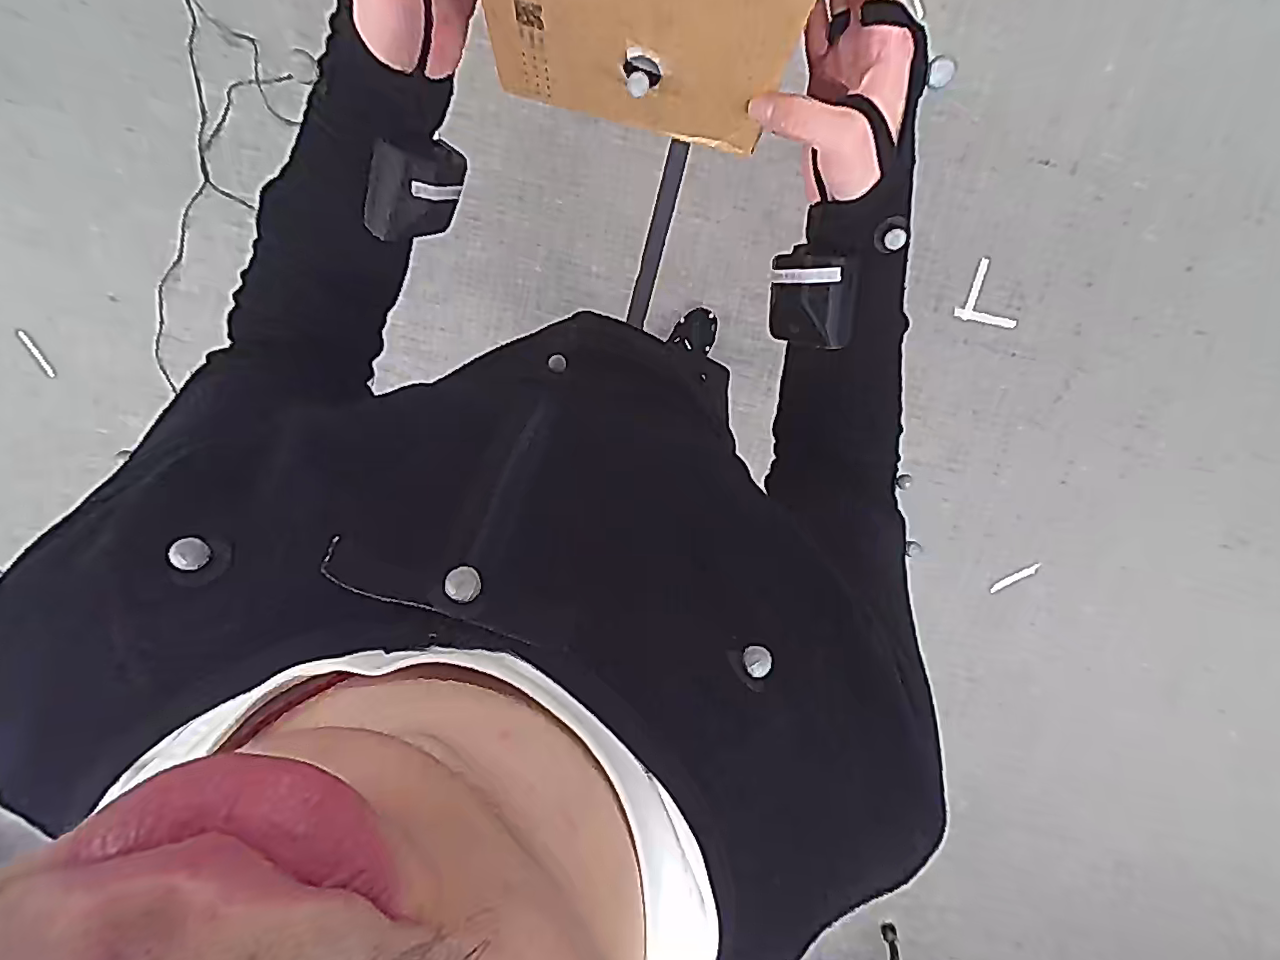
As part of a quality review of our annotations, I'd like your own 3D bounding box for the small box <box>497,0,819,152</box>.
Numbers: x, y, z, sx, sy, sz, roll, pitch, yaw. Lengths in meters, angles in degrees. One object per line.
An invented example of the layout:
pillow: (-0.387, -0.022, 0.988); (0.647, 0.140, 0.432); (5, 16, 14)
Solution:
small box: (0.019, -0.323, 0.281); (0.176, 0.168, 0.179); (12, 85, -5)
